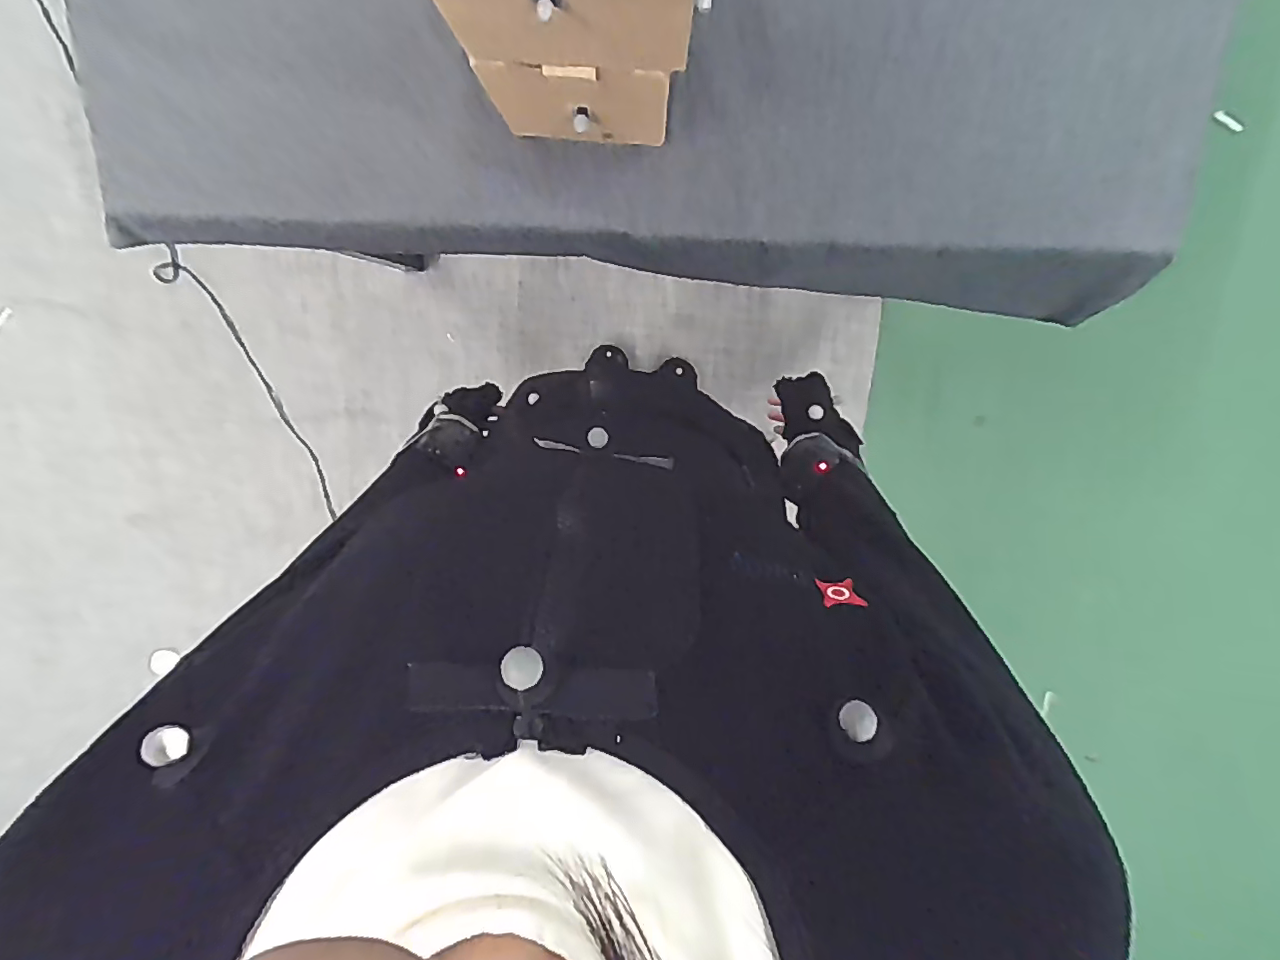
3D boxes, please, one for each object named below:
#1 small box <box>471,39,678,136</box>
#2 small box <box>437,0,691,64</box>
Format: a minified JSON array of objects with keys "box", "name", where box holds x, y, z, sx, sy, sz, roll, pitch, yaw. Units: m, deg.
[{"box":[-0.047,-0.437,0.492,0.168,0.176,0.179,4,105,2],"name":"small box"},{"box":[-0.048,-0.391,0.334,0.179,0.176,0.168,4,105,2],"name":"small box"}]
